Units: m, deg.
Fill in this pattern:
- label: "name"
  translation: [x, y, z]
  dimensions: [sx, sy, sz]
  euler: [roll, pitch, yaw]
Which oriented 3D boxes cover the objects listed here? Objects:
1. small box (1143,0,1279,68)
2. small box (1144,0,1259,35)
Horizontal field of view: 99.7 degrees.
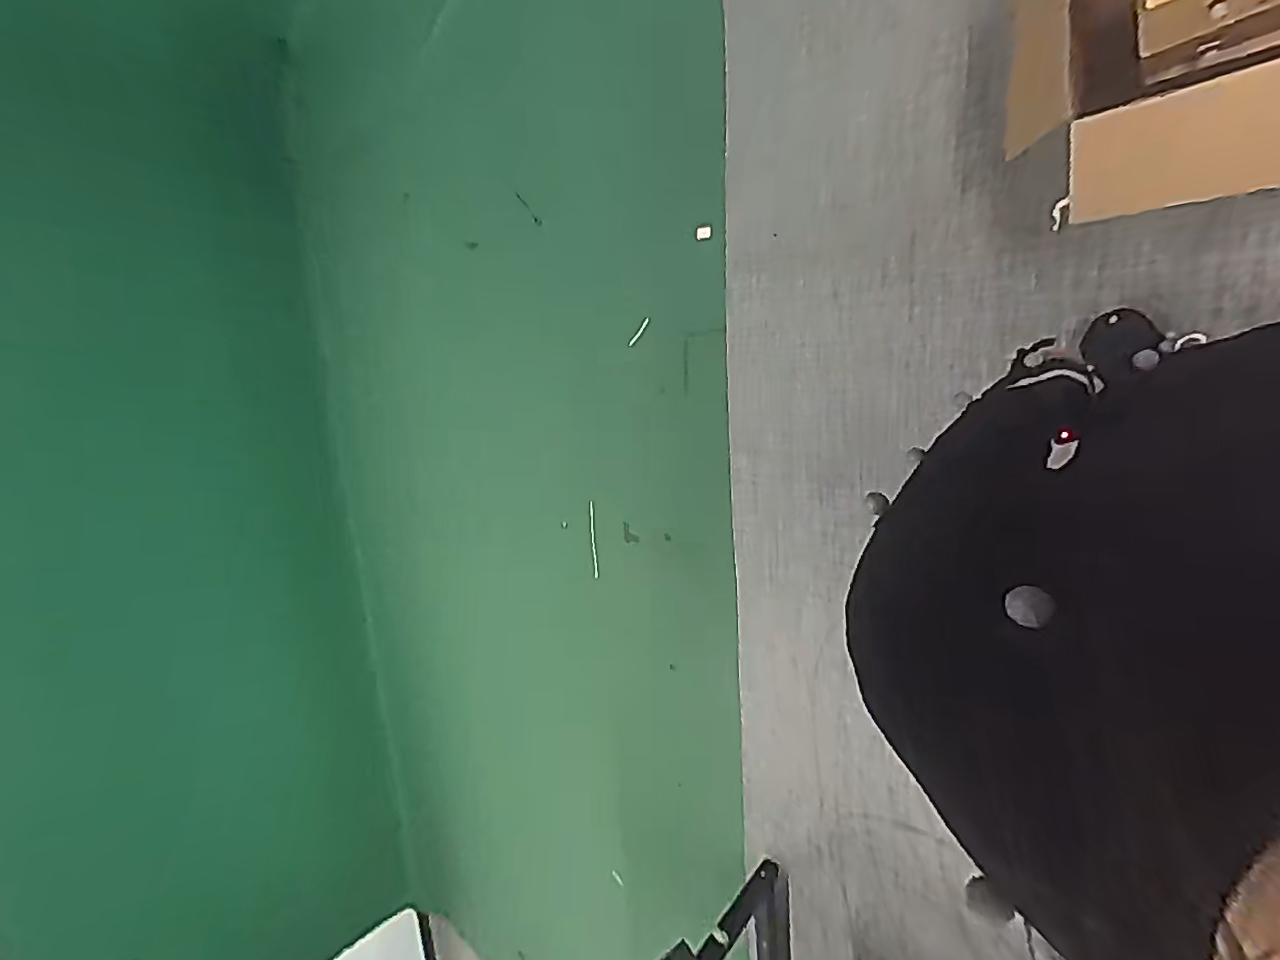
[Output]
- label: "small box"
  translation: [0.746, -0.669, 0.676]
  dimensions: [0.168, 0.176, 0.179]
  euler: [1, 105, 42]
- label: "small box"
  translation: [0.641, -0.614, 0.565]
  dimensions: [0.168, 0.176, 0.179]
  euler: [-2, 102, 43]
